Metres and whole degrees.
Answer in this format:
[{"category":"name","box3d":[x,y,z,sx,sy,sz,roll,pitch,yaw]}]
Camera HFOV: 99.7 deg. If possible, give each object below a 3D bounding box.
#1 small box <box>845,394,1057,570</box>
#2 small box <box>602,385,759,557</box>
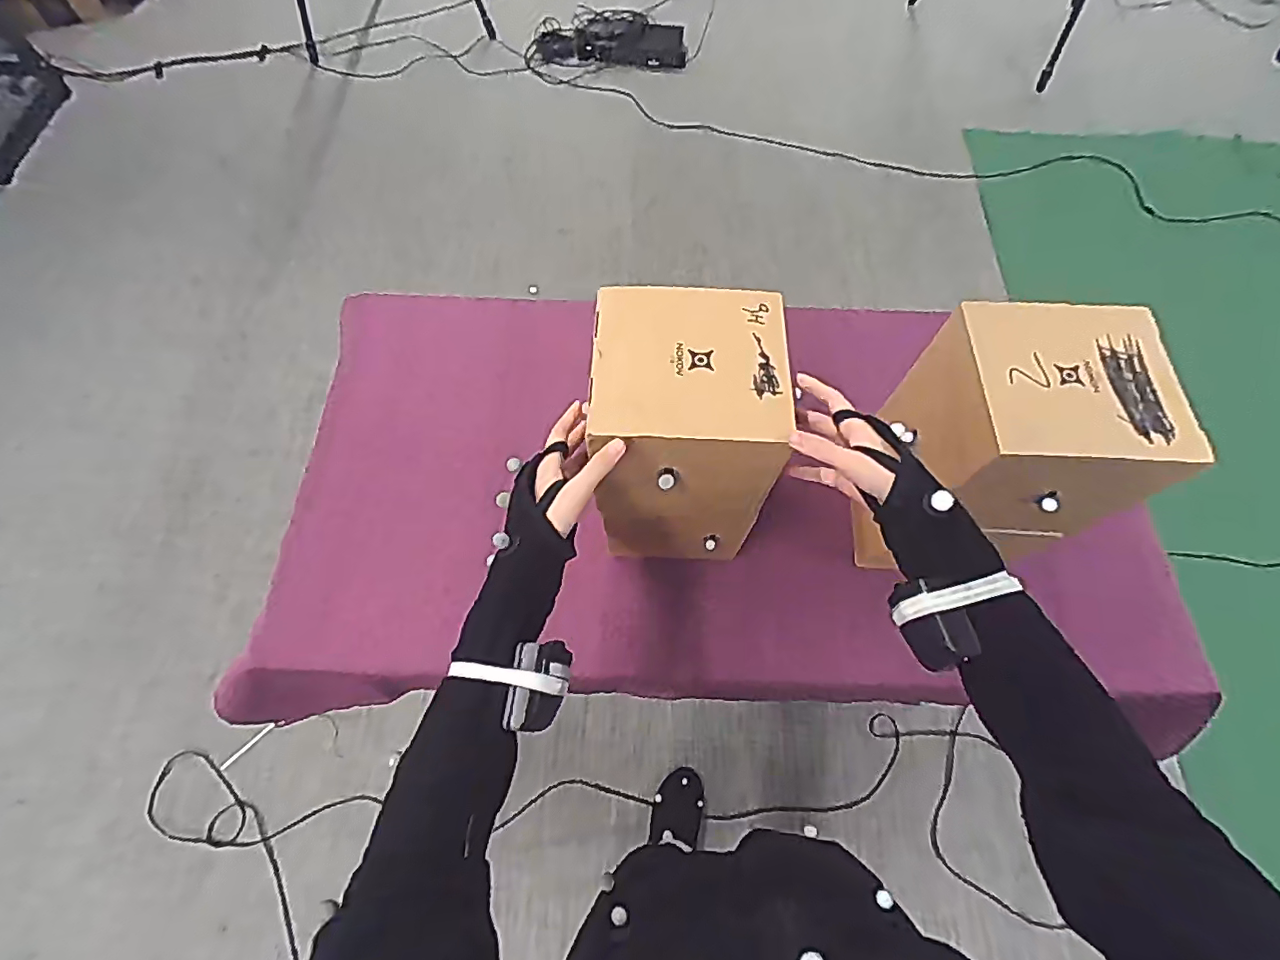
[{"category":"small box","box3d":[0.381,0.011,0.700,0.168,0.176,0.179,3,64,1]},{"category":"small box","box3d":[0.046,-0.004,0.701,0.179,0.176,0.168,2,64,0]}]
